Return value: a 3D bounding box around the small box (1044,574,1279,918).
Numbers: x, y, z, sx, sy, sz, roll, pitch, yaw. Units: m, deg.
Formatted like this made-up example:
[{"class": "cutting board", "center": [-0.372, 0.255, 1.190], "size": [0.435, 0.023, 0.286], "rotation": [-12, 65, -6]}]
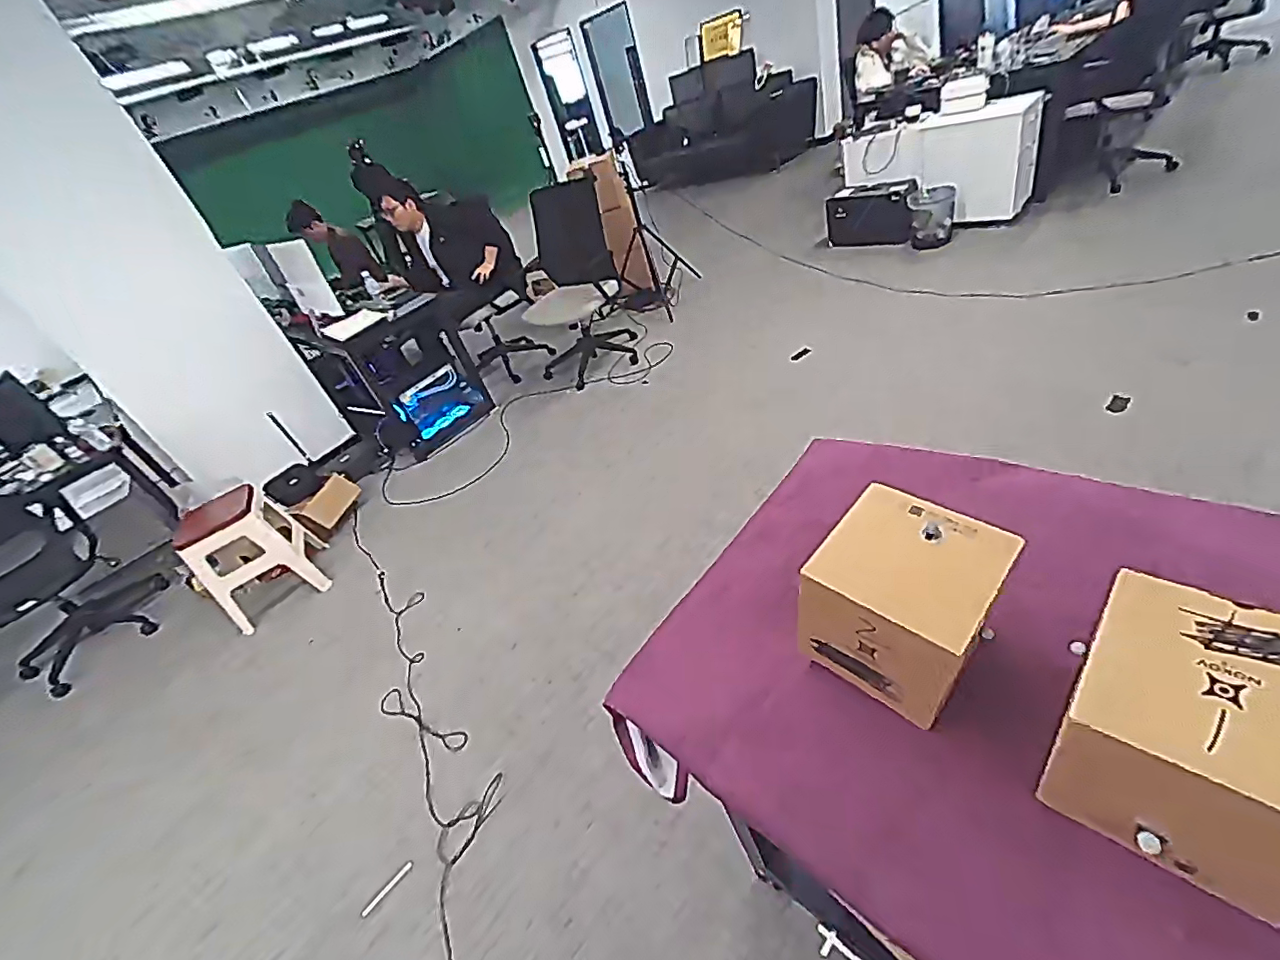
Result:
[{"class": "small box", "center": [0.483, 0.223, 0.474], "size": [0.168, 0.176, 0.179], "rotation": [20, 52, 42]}]
